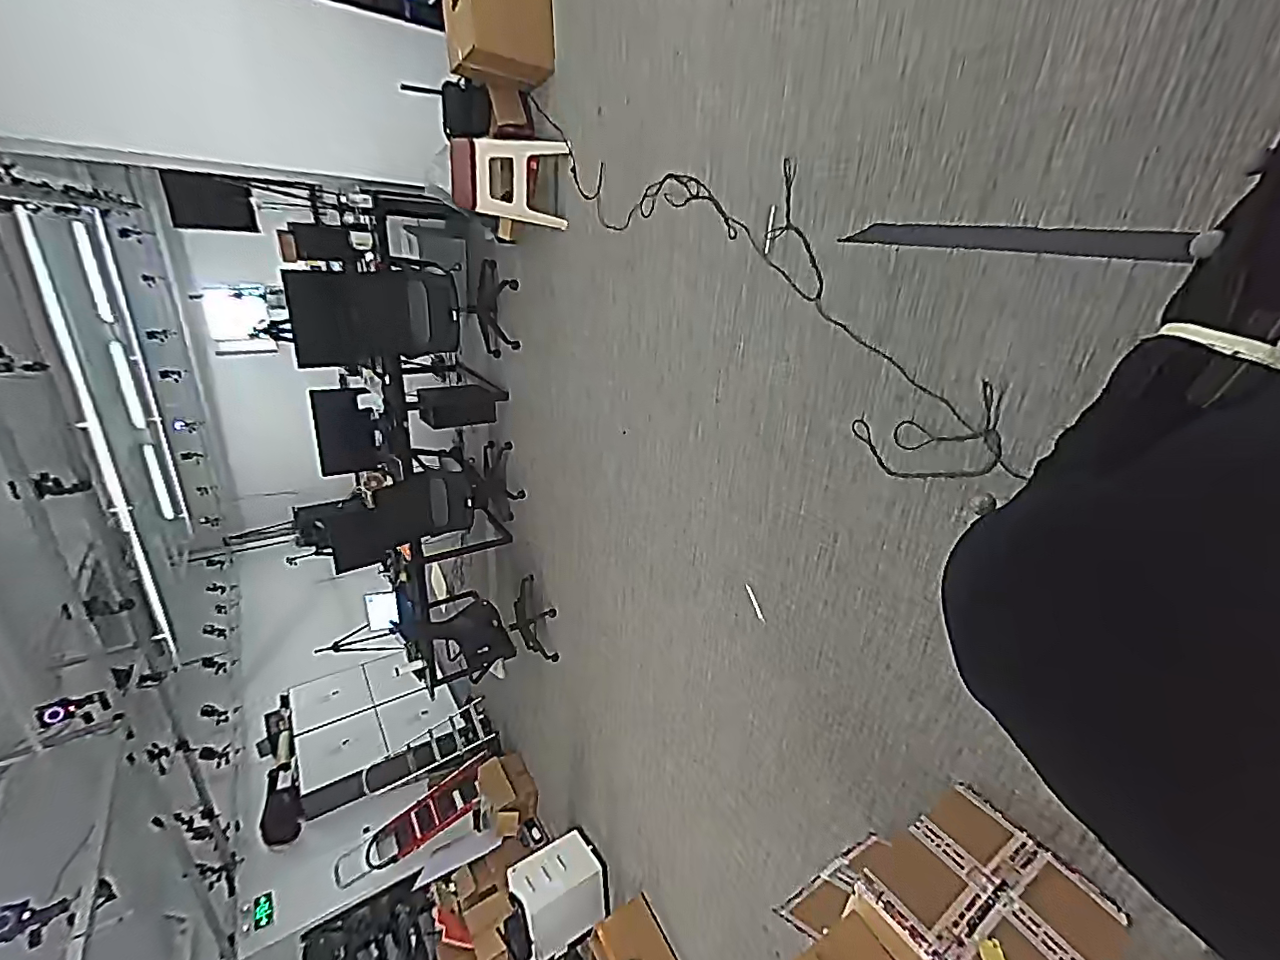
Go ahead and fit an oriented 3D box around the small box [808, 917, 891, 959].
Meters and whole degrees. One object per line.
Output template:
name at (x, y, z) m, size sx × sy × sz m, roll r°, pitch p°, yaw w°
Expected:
small box at (0.480, 1.141, 1.207) m, size 0.179 × 0.176 × 0.168 m, roll 42°, pitch 132°, yaw 46°
